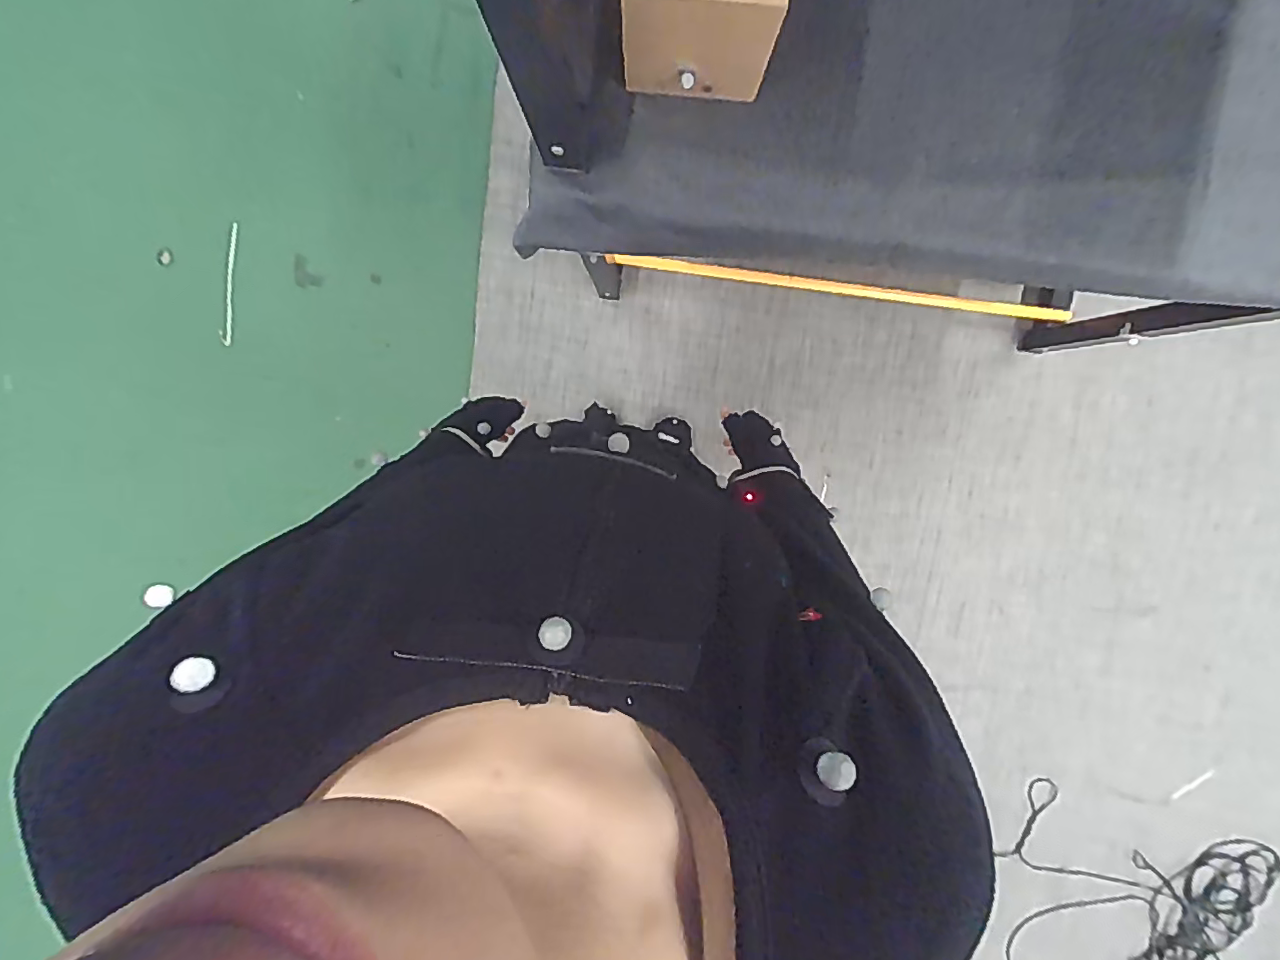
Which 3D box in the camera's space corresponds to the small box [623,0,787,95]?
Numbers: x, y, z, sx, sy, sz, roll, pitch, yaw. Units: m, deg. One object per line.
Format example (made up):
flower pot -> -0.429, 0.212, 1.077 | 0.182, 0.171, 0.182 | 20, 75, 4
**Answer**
small box -> 0.070, -0.564, 0.585 | 0.168, 0.176, 0.179 | 5, 98, 0
